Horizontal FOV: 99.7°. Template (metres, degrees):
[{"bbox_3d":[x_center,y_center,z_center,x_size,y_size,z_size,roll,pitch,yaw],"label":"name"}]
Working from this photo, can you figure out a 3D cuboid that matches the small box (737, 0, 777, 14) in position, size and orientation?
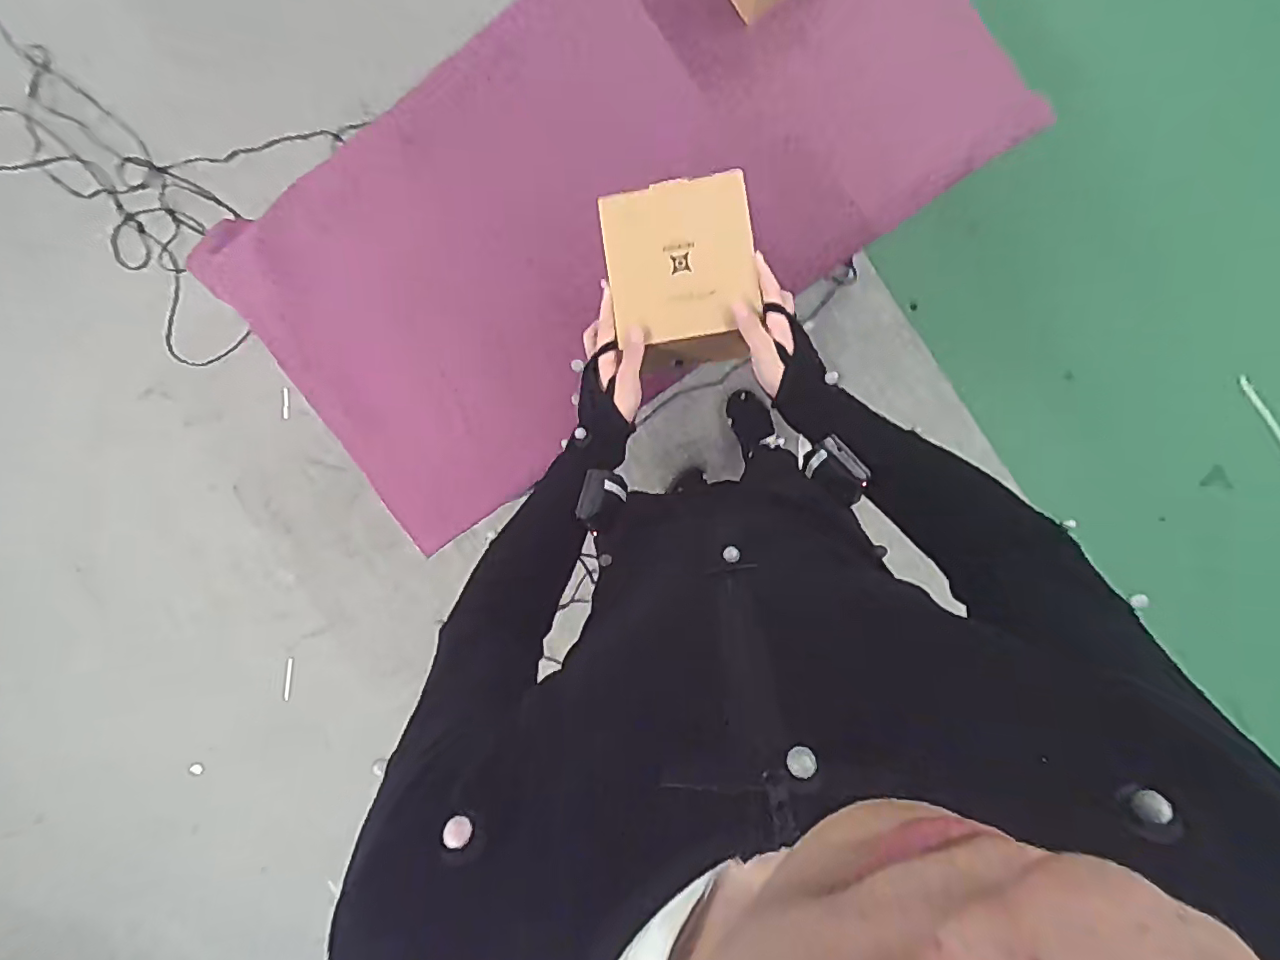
[{"bbox_3d":[0.182,-0.817,0.743,0.168,0.176,0.179,-34,92,6],"label":"small box"}]

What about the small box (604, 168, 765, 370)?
[{"bbox_3d":[0.054,-0.247,0.675,0.168,0.176,0.179,-7,91,6],"label":"small box"}]
